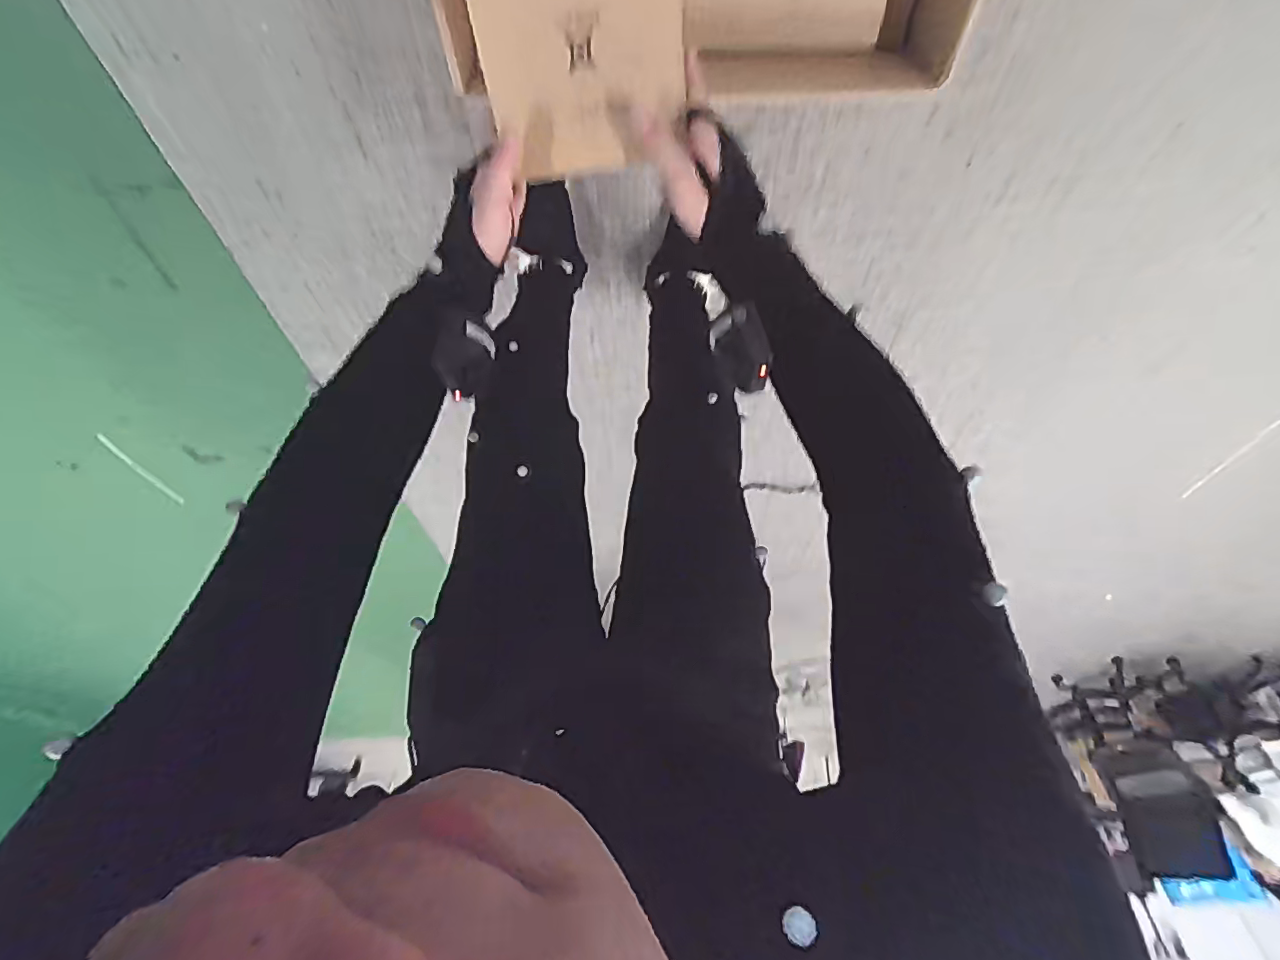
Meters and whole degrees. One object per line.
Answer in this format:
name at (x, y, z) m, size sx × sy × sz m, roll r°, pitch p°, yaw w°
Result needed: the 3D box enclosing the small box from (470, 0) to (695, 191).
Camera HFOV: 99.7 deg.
small box at (-0.040, -0.377, 0.489) m, size 0.168 × 0.176 × 0.179 m, roll -4°, pitch 125°, yaw 6°
